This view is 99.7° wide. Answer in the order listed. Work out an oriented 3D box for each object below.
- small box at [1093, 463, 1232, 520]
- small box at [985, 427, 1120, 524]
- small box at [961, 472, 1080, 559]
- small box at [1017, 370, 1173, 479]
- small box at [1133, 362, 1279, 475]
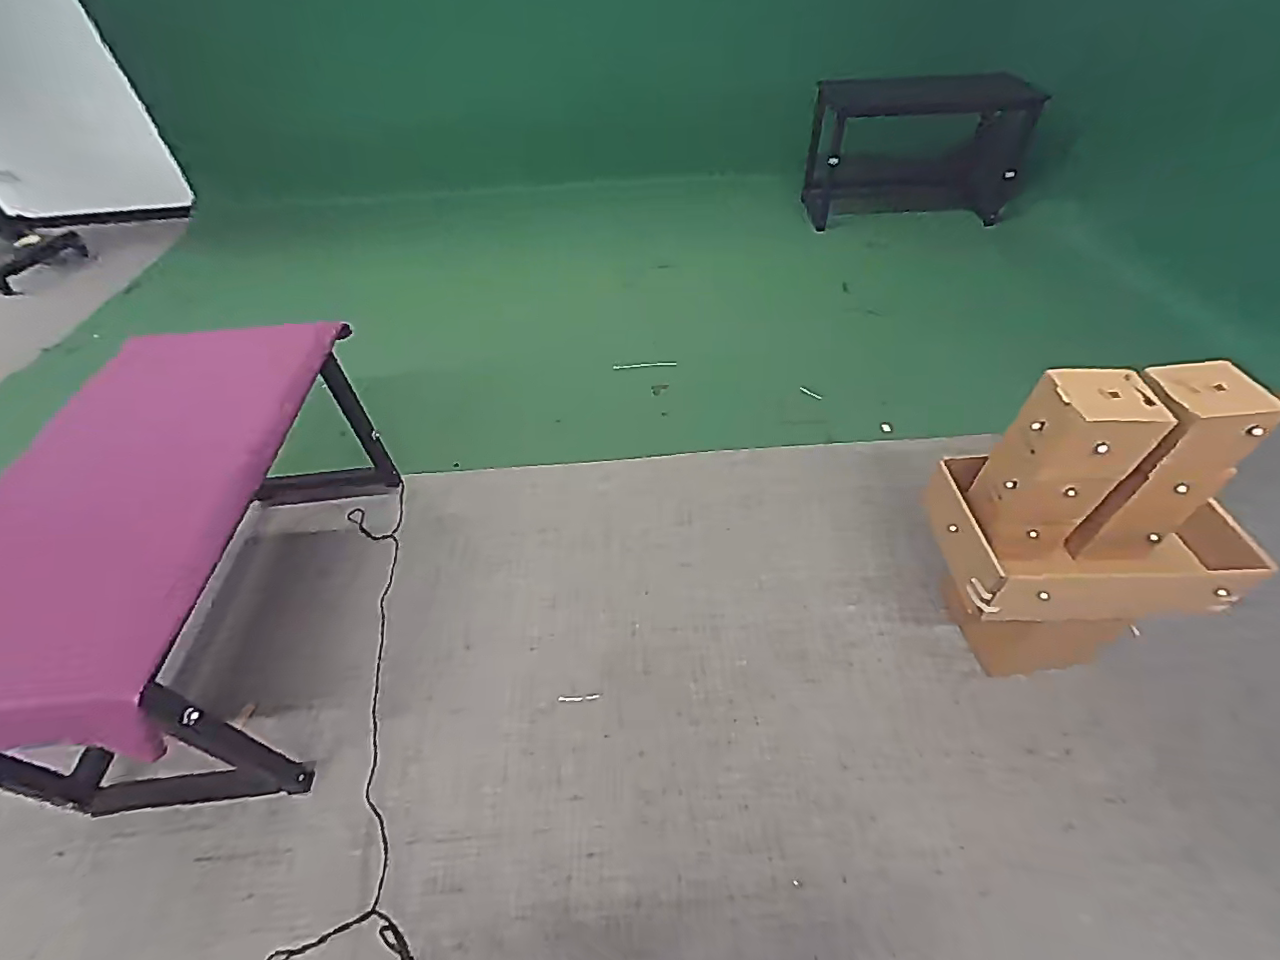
[{"bbox_3d":[1.191,-0.019,1.273,0.179,0.176,0.168,-3,49,4],"label":"small box"},{"bbox_3d":[0.949,-0.009,1.272,0.179,0.176,0.168,1,49,3],"label":"small box"},{"bbox_3d":[0.965,0.094,1.398,0.179,0.176,0.168,-1,48,1],"label":"small box"},{"bbox_3d":[0.943,-0.116,1.149,0.179,0.176,0.168,1,49,5],"label":"small box"},{"bbox_3d":[1.164,-0.128,1.151,0.179,0.176,0.168,-5,47,3],"label":"small box"}]
